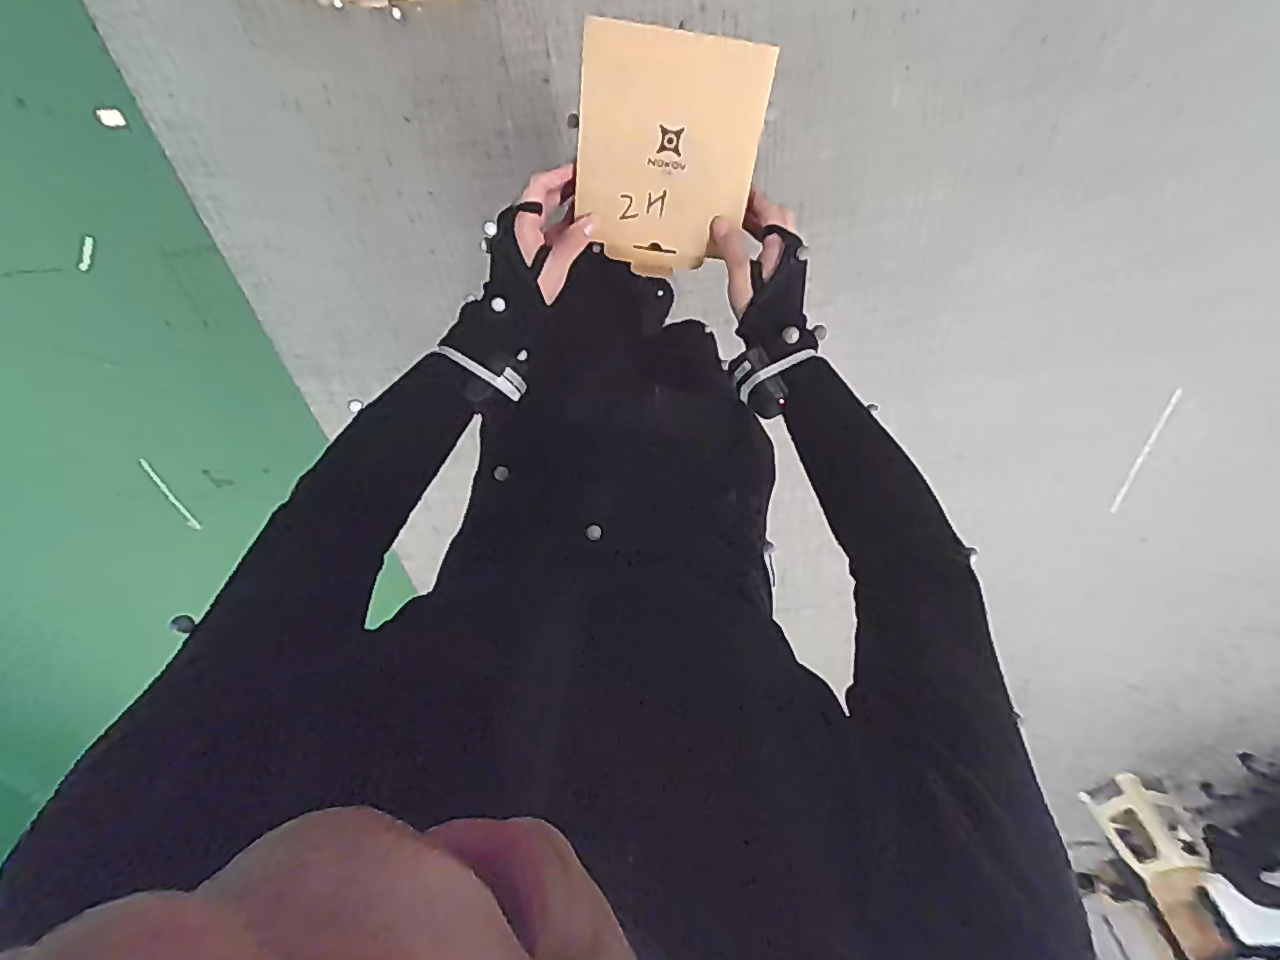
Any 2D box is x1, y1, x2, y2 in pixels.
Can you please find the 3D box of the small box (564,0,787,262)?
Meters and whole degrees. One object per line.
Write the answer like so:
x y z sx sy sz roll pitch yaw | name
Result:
0.028 -0.353 0.554 0.168 0.176 0.179 13 126 -5 | small box
